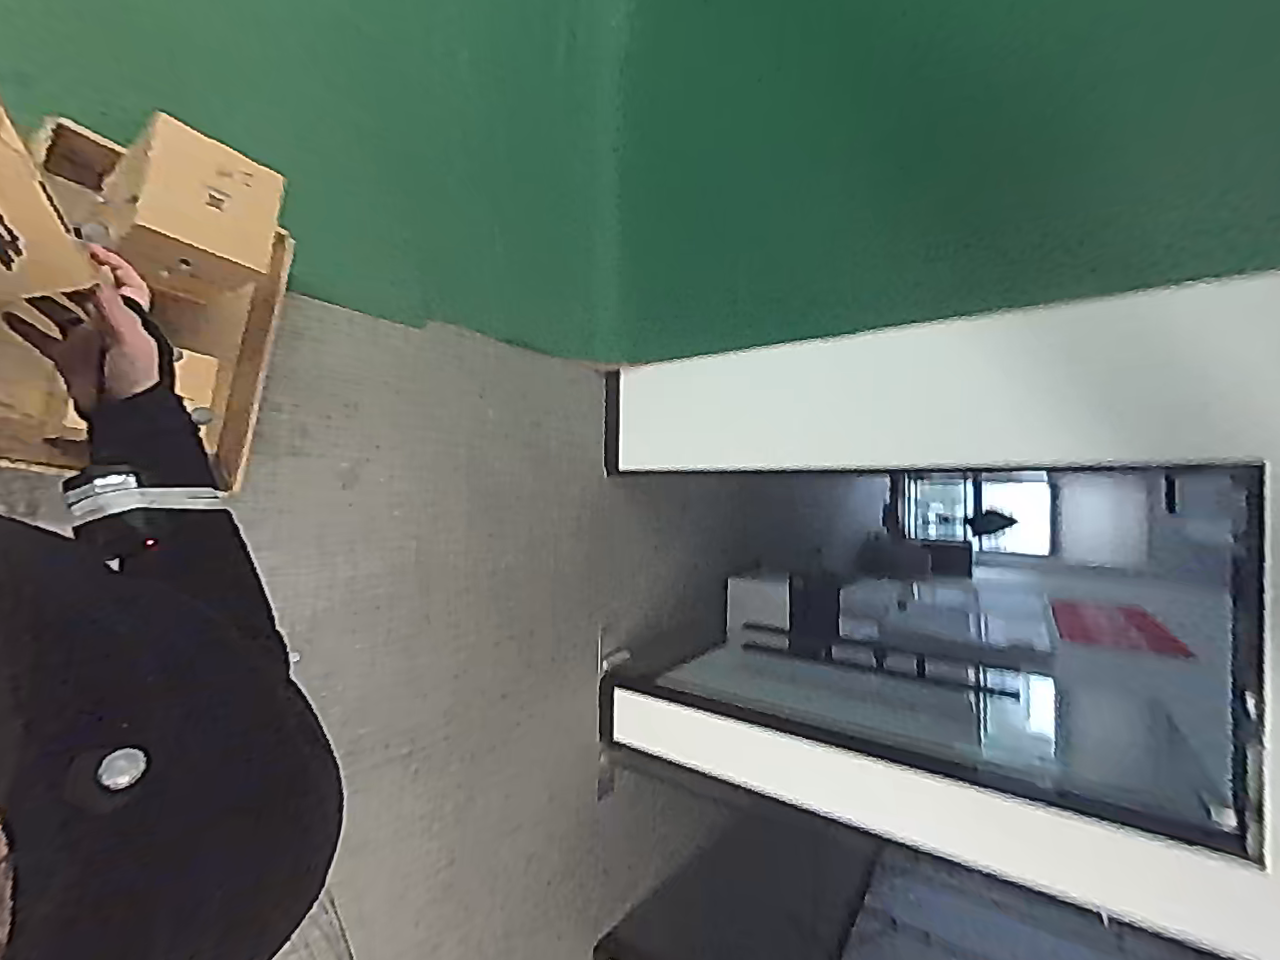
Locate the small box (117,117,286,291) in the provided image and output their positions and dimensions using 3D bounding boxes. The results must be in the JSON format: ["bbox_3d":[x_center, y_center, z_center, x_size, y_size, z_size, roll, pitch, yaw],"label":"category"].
[{"bbox_3d":[-0.719,-0.434,0.887,0.168,0.176,0.179,15,79,-53],"label":"small box"}]

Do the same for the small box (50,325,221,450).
[{"bbox_3d":[-0.878,-0.148,0.941,0.179,0.176,0.168,15,77,-54],"label":"small box"}]

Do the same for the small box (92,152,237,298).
[{"bbox_3d":[-0.849,-0.449,0.988,0.179,0.176,0.168,16,78,-53],"label":"small box"}]
